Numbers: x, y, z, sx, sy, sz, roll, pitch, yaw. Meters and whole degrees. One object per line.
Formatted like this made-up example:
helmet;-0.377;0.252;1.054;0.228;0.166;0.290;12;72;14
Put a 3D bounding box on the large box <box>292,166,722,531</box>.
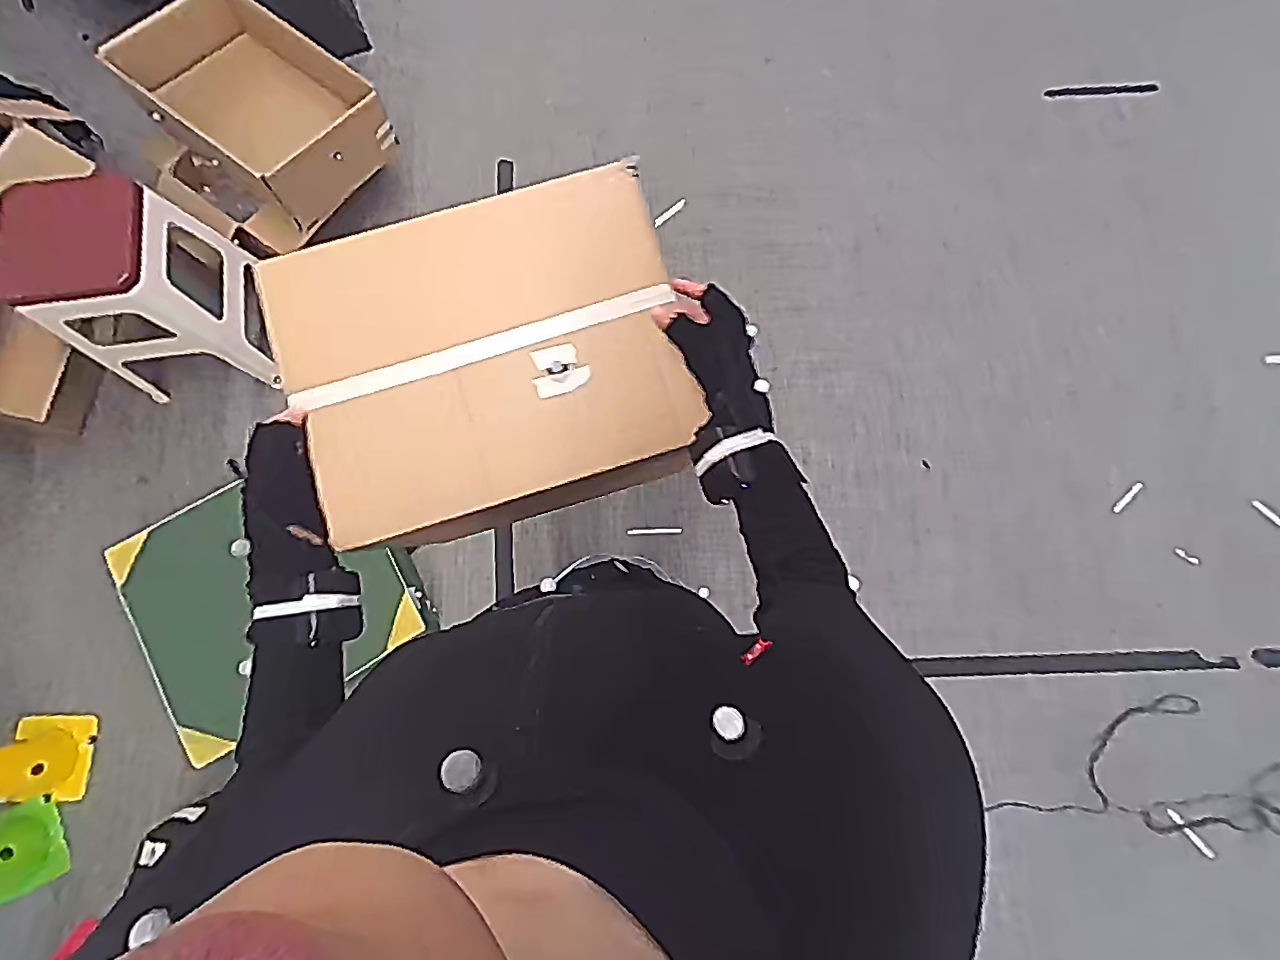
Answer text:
large box;-0.147;-0.132;0.721;0.408;0.320;0.320;-15;86;-3
